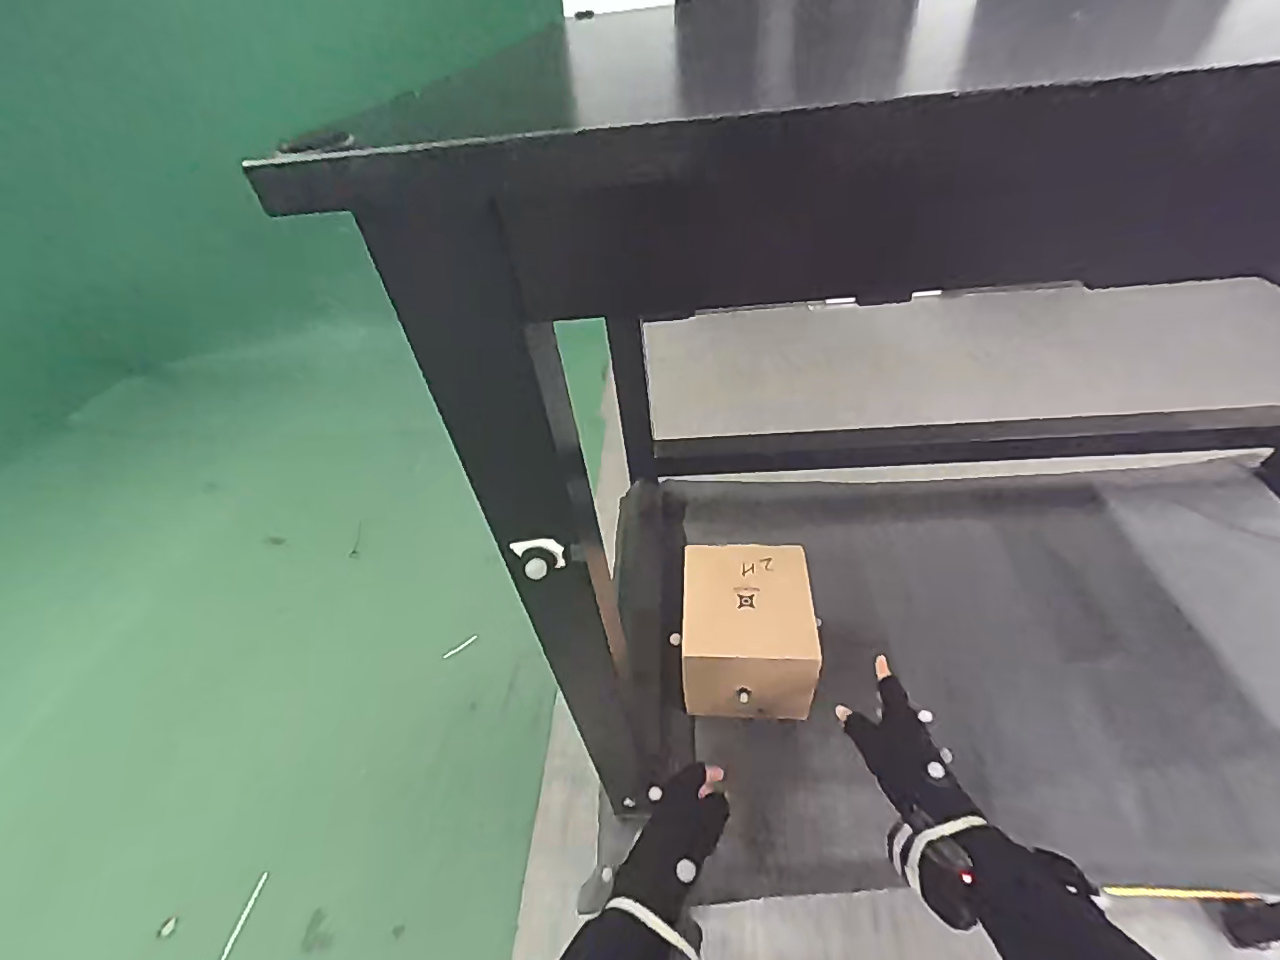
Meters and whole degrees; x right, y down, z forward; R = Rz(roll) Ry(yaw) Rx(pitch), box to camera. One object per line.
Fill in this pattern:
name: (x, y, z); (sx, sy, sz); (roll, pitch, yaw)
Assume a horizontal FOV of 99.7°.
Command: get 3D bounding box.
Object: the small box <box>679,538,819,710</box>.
small box: (0.144, 0.200, 0.748); (0.168, 0.176, 0.179); (0, 44, 7)
